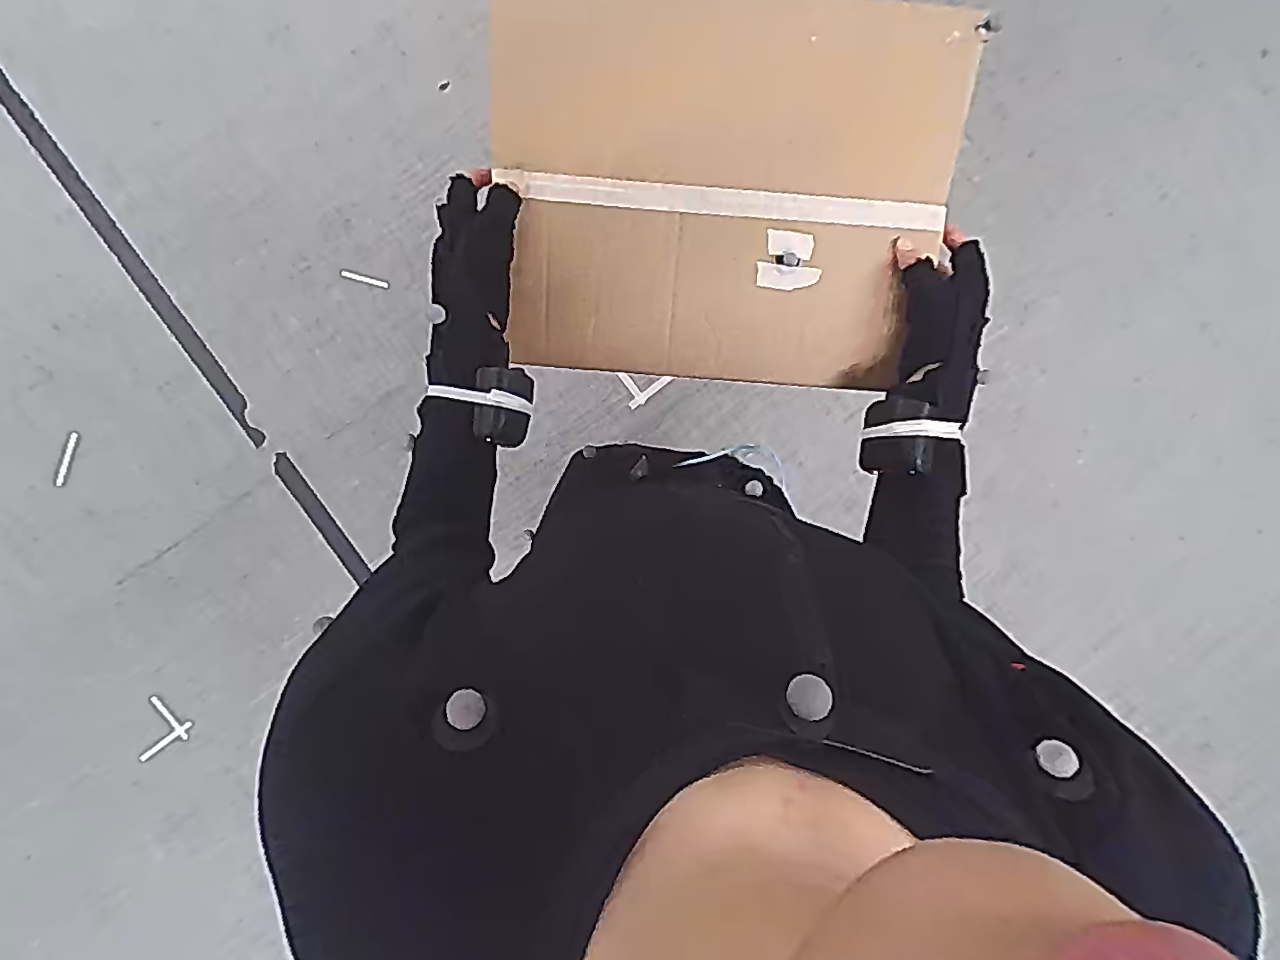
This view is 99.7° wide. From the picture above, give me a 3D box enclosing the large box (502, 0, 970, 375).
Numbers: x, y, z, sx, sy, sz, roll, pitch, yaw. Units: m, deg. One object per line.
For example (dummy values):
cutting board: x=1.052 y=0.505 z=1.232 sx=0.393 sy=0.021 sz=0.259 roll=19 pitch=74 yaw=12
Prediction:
large box: x=0.069 y=-0.310 z=0.638 sx=0.408 sy=0.320 sz=0.320 roll=4 pitch=110 yaw=-3
